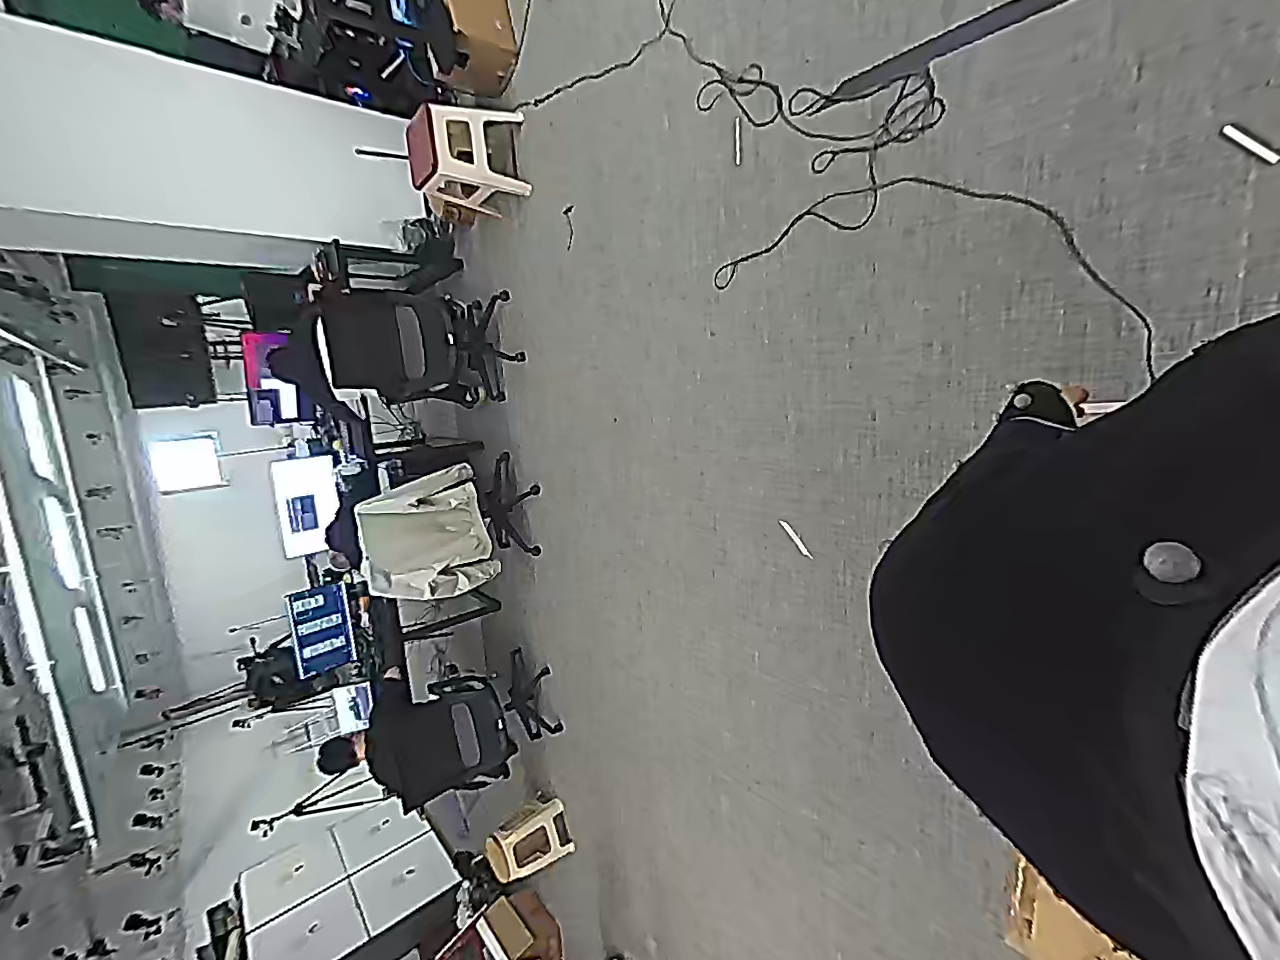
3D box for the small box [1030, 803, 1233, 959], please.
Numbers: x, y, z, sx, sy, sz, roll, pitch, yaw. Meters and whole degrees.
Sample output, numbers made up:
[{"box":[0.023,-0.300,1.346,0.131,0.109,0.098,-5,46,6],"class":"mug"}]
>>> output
[{"box":[0.630,0.572,0.696,0.168,0.176,0.179,9,105,48],"class":"small box"}]
